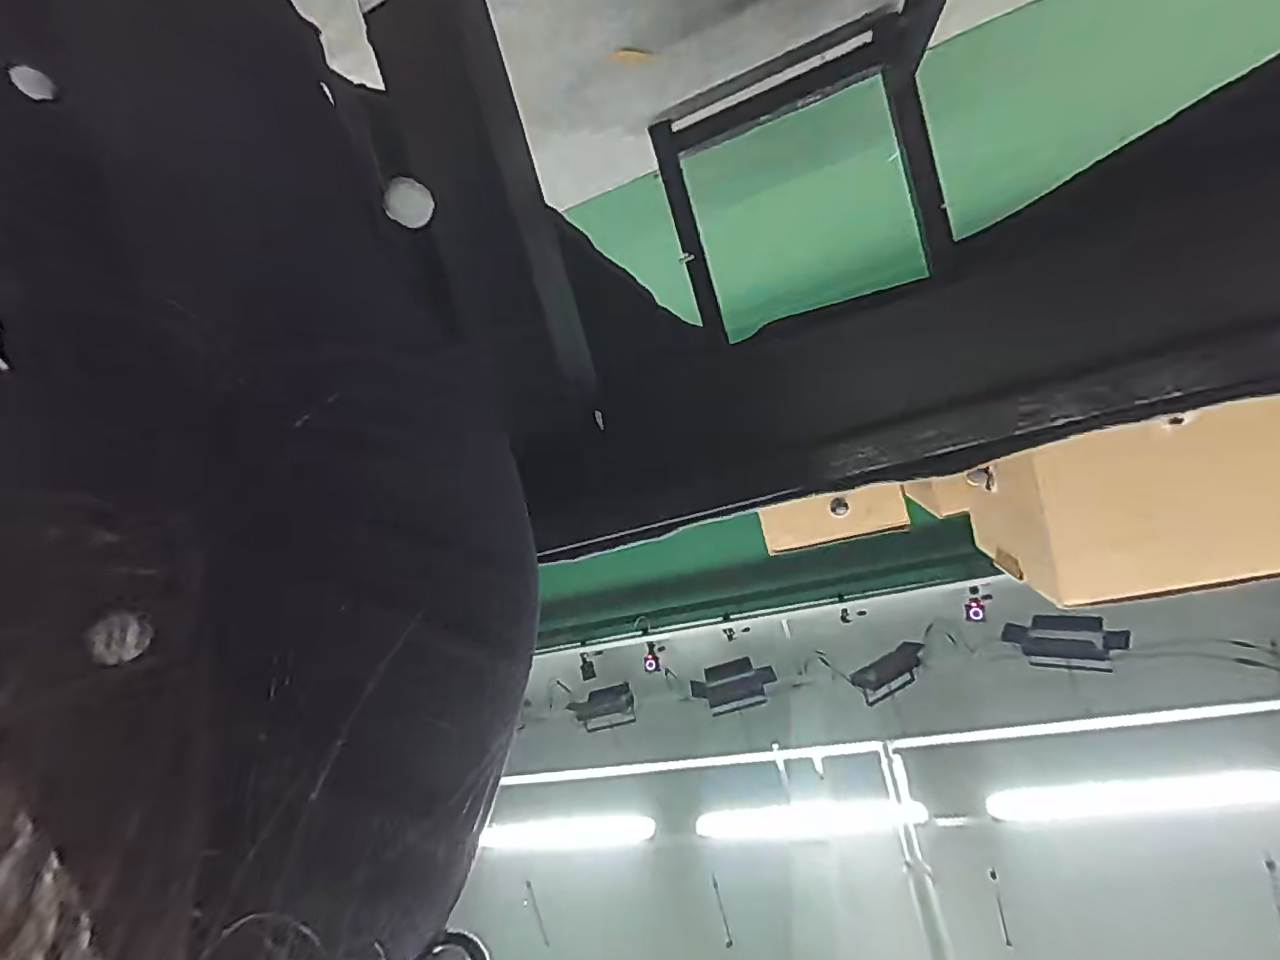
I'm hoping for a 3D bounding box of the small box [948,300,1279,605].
[{"bbox_3d":[0.371,-0.023,0.425,0.179,0.176,0.168,-15,-174,15],"label":"small box"}]
